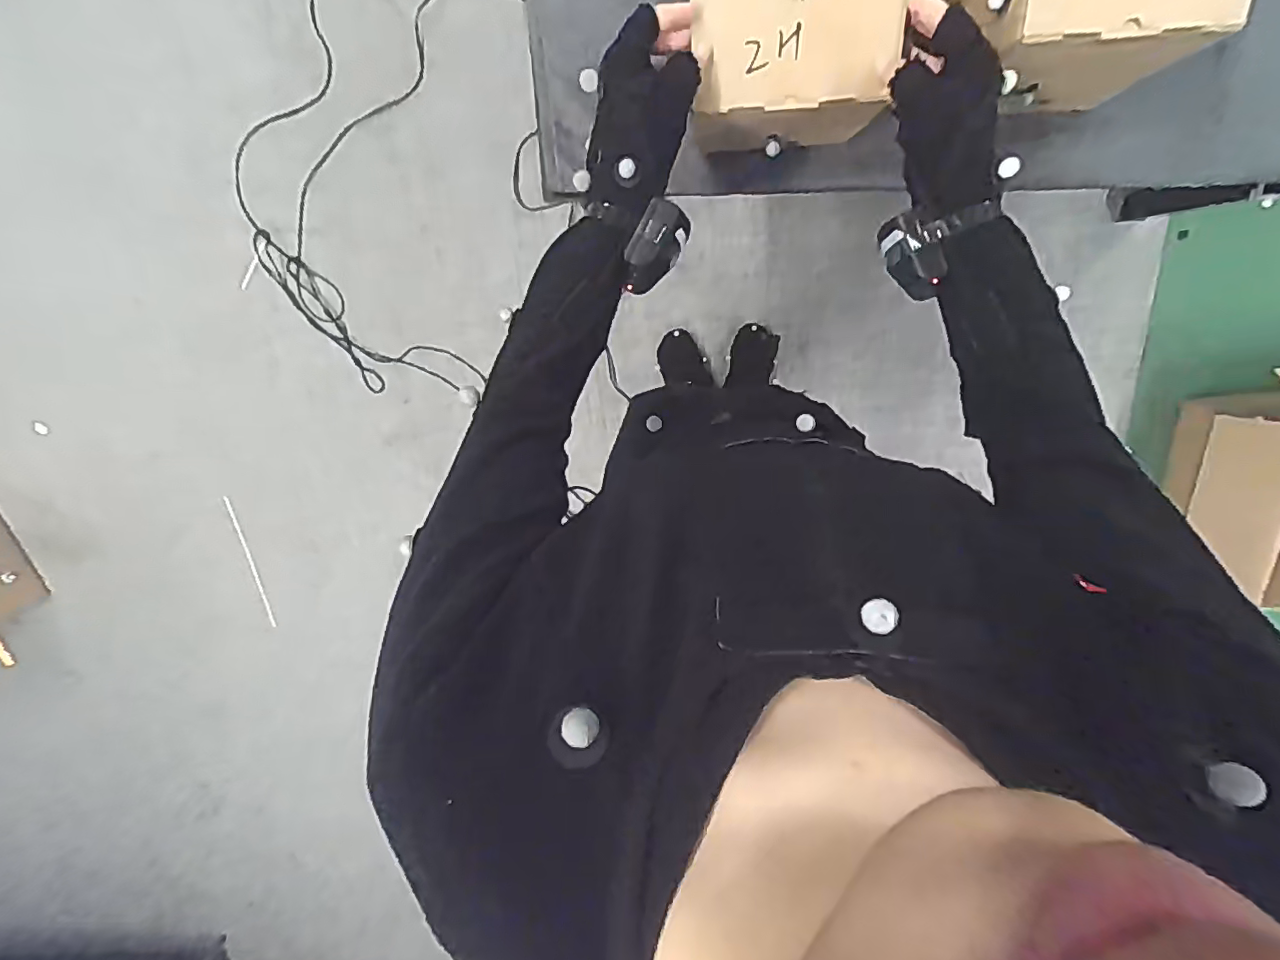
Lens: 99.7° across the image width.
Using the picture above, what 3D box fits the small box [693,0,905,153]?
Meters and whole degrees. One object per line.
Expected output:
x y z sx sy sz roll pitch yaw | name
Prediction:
0.132 -0.421 0.496 0.168 0.176 0.179 0 112 7 | small box
